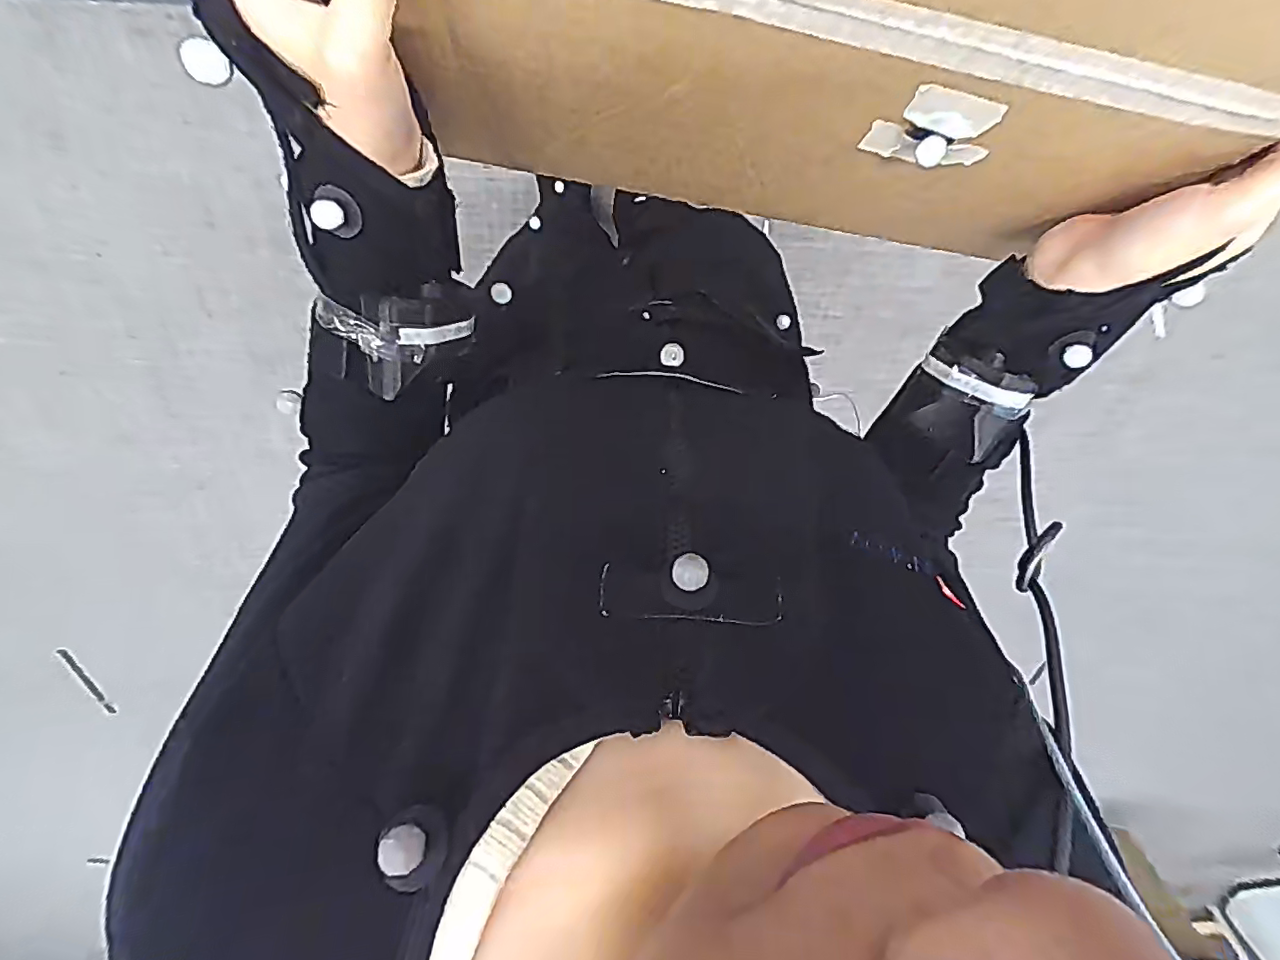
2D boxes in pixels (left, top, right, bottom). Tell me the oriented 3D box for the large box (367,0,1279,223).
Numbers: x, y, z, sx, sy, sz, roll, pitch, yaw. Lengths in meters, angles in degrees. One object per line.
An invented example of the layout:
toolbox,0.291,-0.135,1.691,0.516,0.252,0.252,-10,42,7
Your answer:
large box,0.101,-0.333,0.176,0.408,0.320,0.320,6,91,-6
